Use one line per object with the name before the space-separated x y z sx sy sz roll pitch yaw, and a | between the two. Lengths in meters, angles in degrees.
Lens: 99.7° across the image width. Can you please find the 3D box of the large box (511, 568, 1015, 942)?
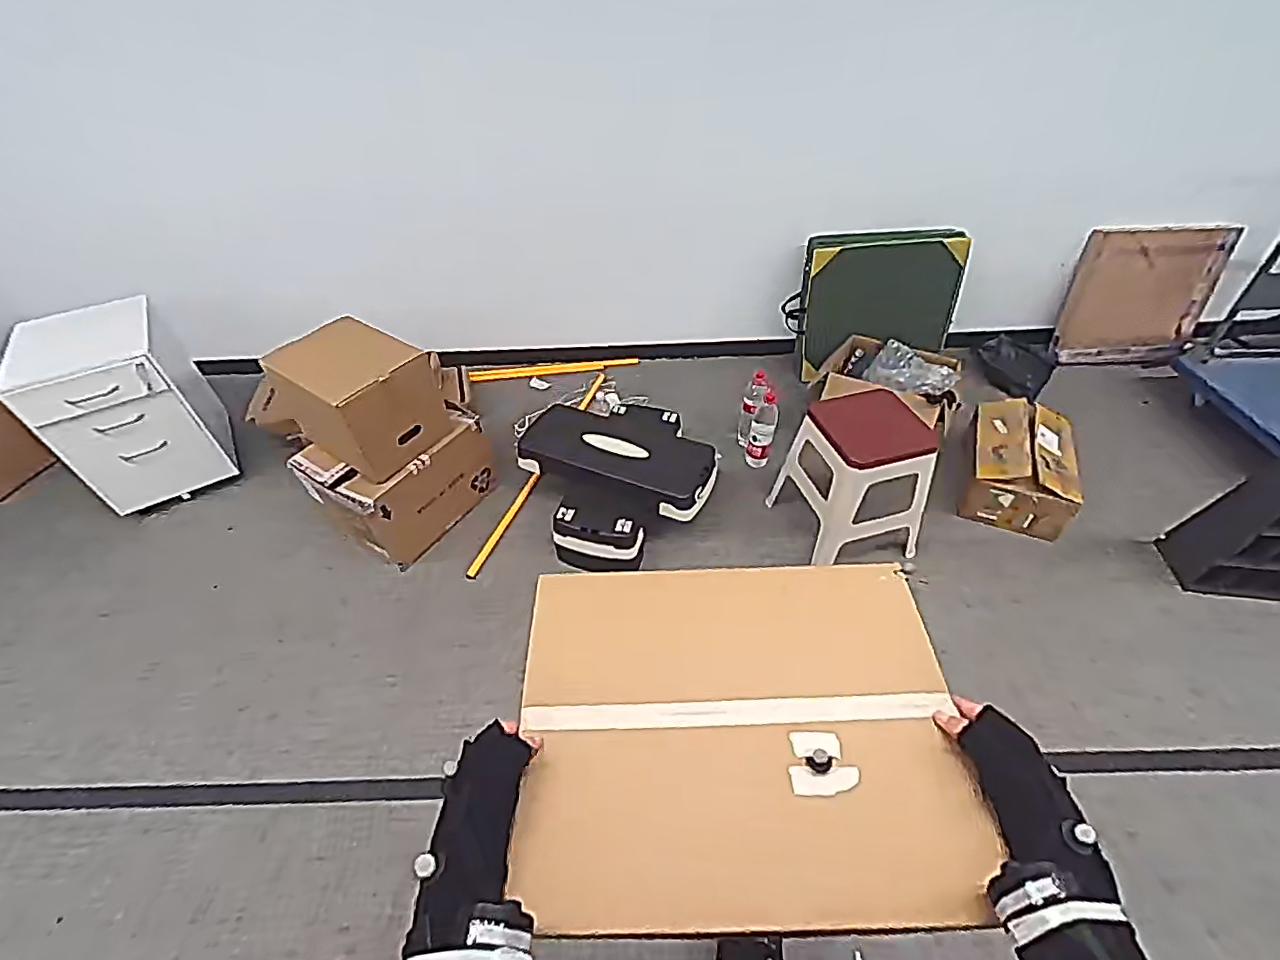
large box | 0.095 0.322 0.627 0.408 0.320 0.320 -2 49 1
